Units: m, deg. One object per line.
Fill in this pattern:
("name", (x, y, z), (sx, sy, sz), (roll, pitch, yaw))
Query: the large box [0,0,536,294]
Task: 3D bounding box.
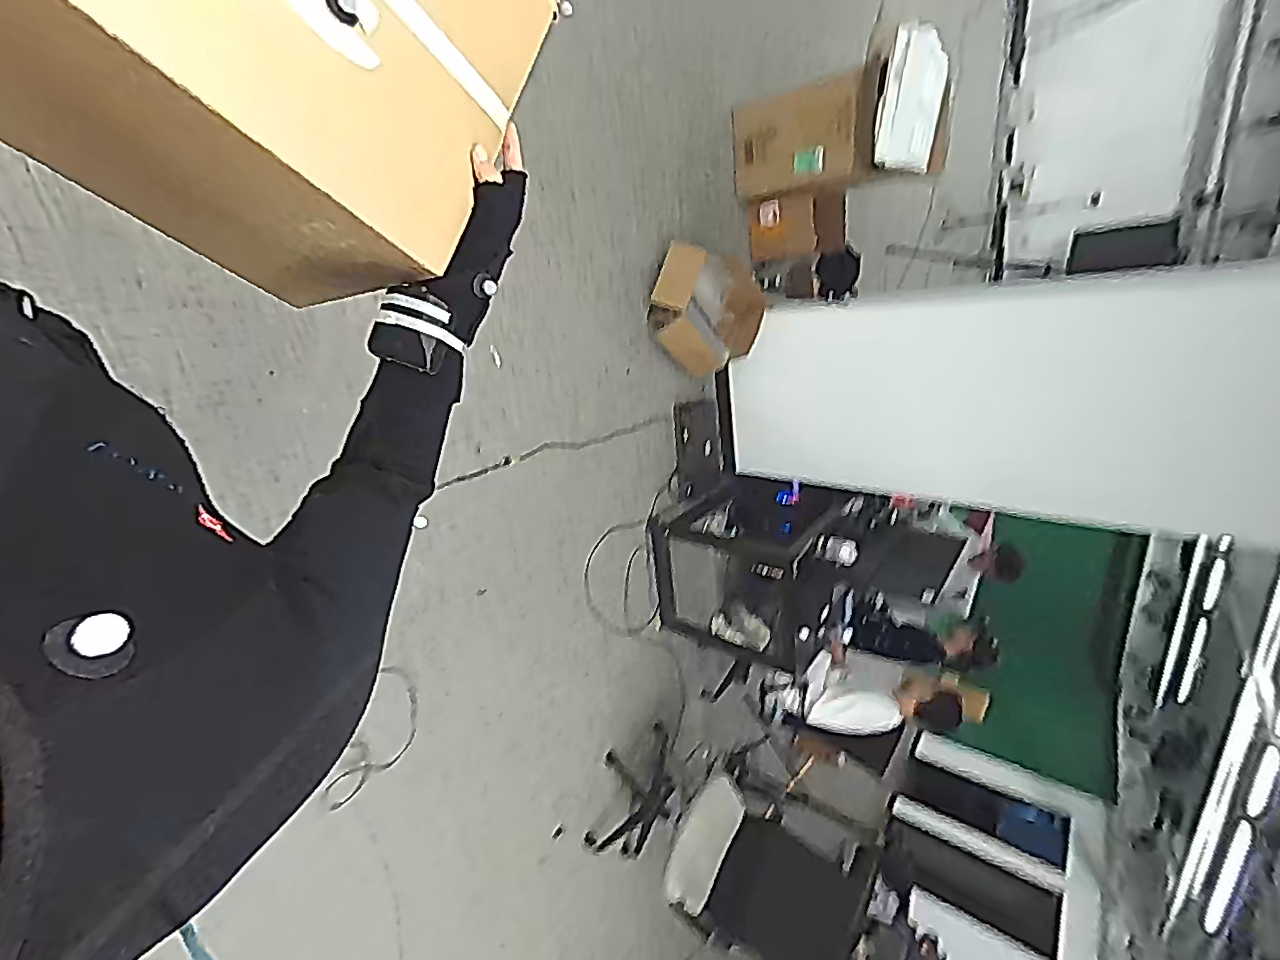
("large box", (-0.365, -0.407, 0.431), (0.408, 0.320, 0.320), (30, 73, -50))
